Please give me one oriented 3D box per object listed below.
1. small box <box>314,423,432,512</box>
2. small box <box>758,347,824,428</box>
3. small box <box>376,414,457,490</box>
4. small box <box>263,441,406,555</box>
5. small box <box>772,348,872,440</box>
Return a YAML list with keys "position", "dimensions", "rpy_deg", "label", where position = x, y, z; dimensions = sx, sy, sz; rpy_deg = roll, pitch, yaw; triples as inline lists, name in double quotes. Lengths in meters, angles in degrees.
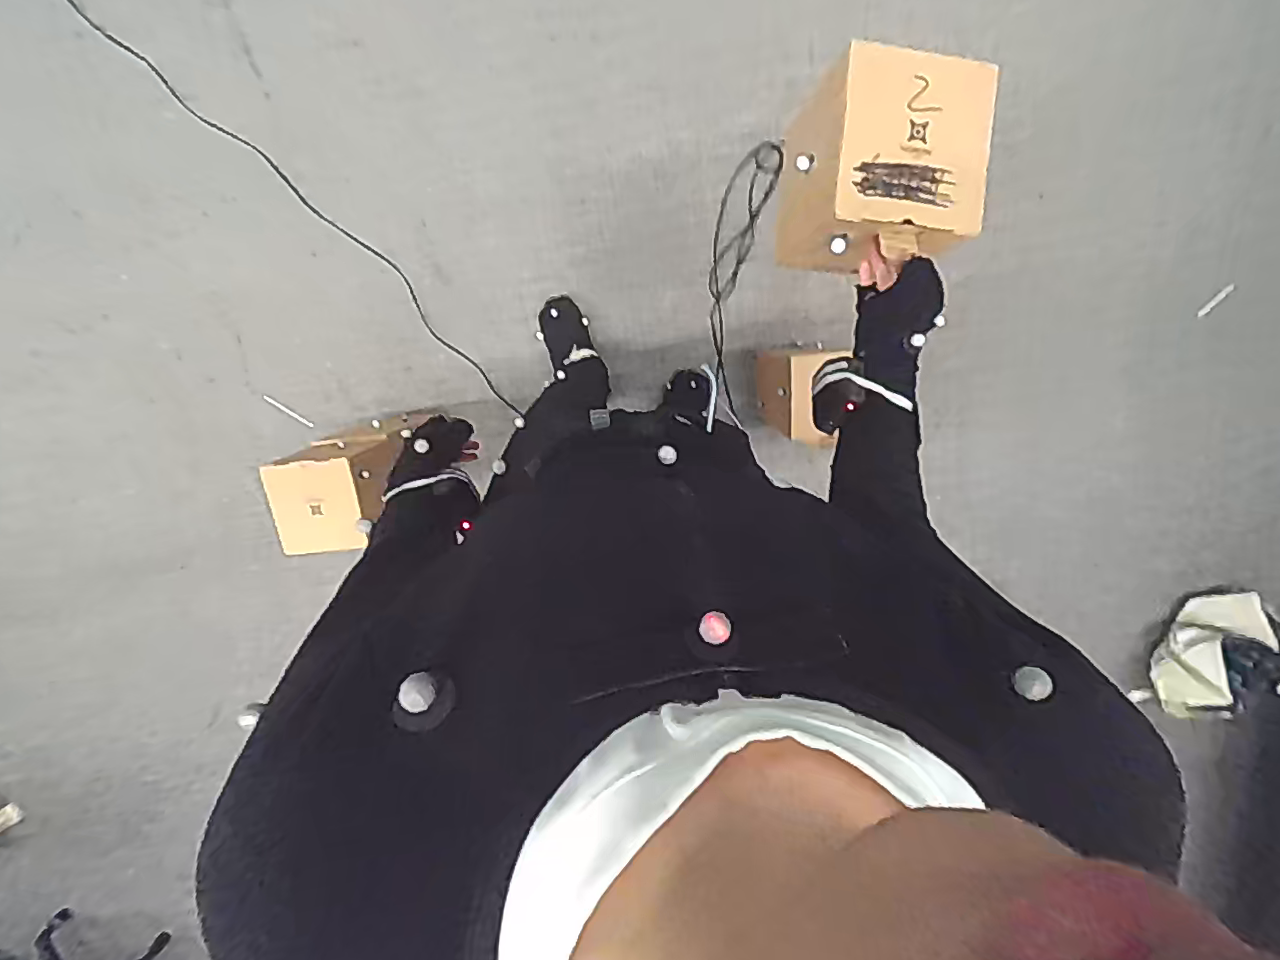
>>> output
- position: [-0.588, -0.023, 1.219]
  dimensions: [0.168, 0.176, 0.179]
  rpy_deg: [-5, 105, 2]
  label: "small box"
- position: [0.390, -0.231, 1.328]
  dimensions: [0.168, 0.176, 0.179]
  rpy_deg: [-3, 106, 0]
  label: "small box"
- position: [-0.582, -0.069, 1.377]
  dimensions: [0.179, 0.176, 0.168]
  rpy_deg: [-6, 106, 1]
  label: "small box"
- position: [-0.587, 0.031, 1.065]
  dimensions: [0.168, 0.176, 0.179]
  rpy_deg: [-6, 105, 2]
  label: "small box"
- position: [0.389, -0.195, 1.184]
  dimensions: [0.168, 0.176, 0.179]
  rpy_deg: [-5, 107, 0]
  label: "small box"
